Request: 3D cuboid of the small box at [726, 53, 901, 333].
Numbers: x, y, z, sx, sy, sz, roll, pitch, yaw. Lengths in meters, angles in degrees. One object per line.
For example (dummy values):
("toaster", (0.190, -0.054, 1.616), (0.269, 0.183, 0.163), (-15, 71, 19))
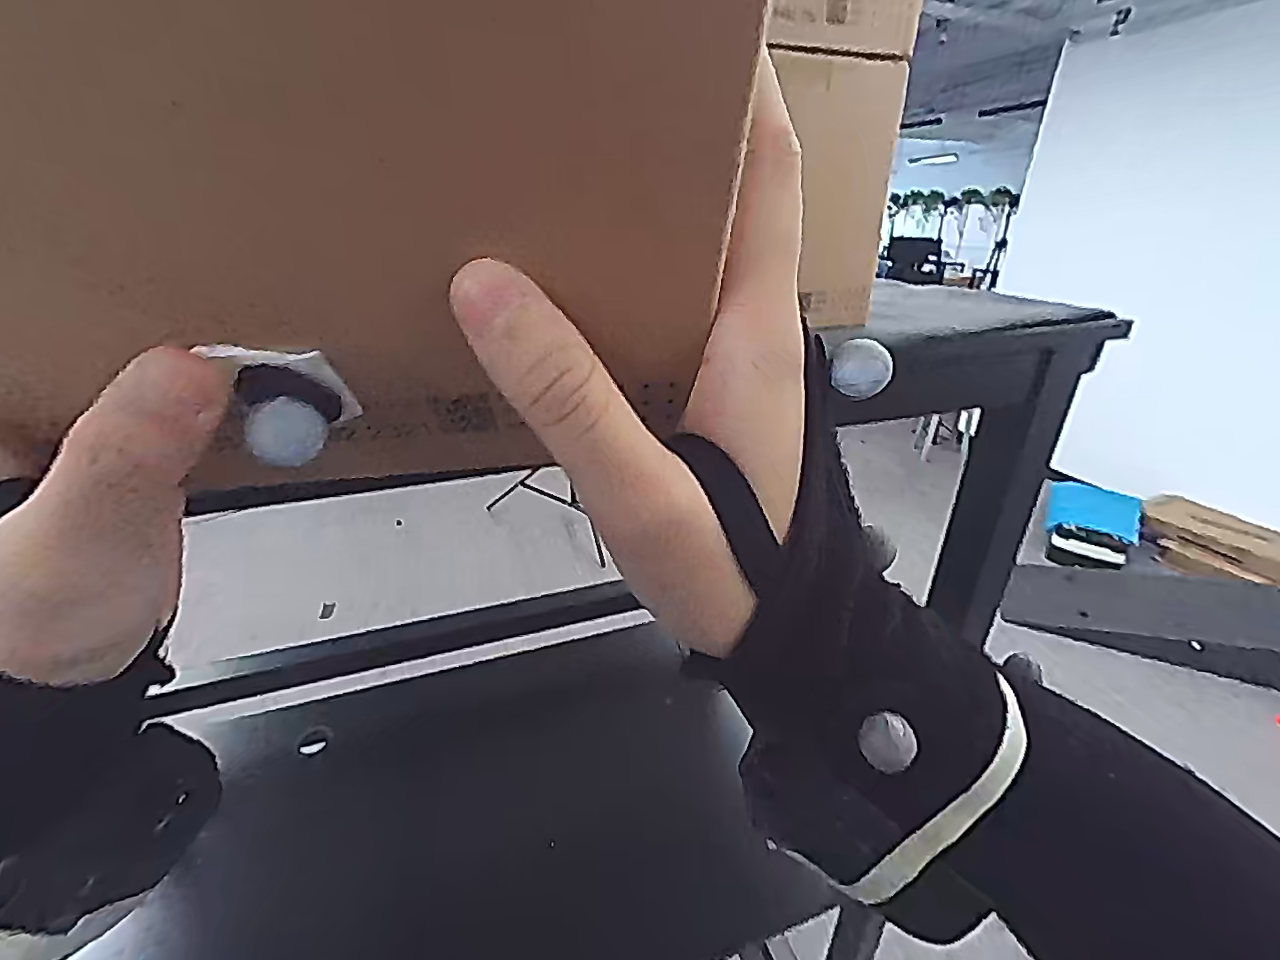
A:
("small box", (0.067, -0.215, 0.432), (0.168, 0.176, 0.179), (-10, 27, -16))
